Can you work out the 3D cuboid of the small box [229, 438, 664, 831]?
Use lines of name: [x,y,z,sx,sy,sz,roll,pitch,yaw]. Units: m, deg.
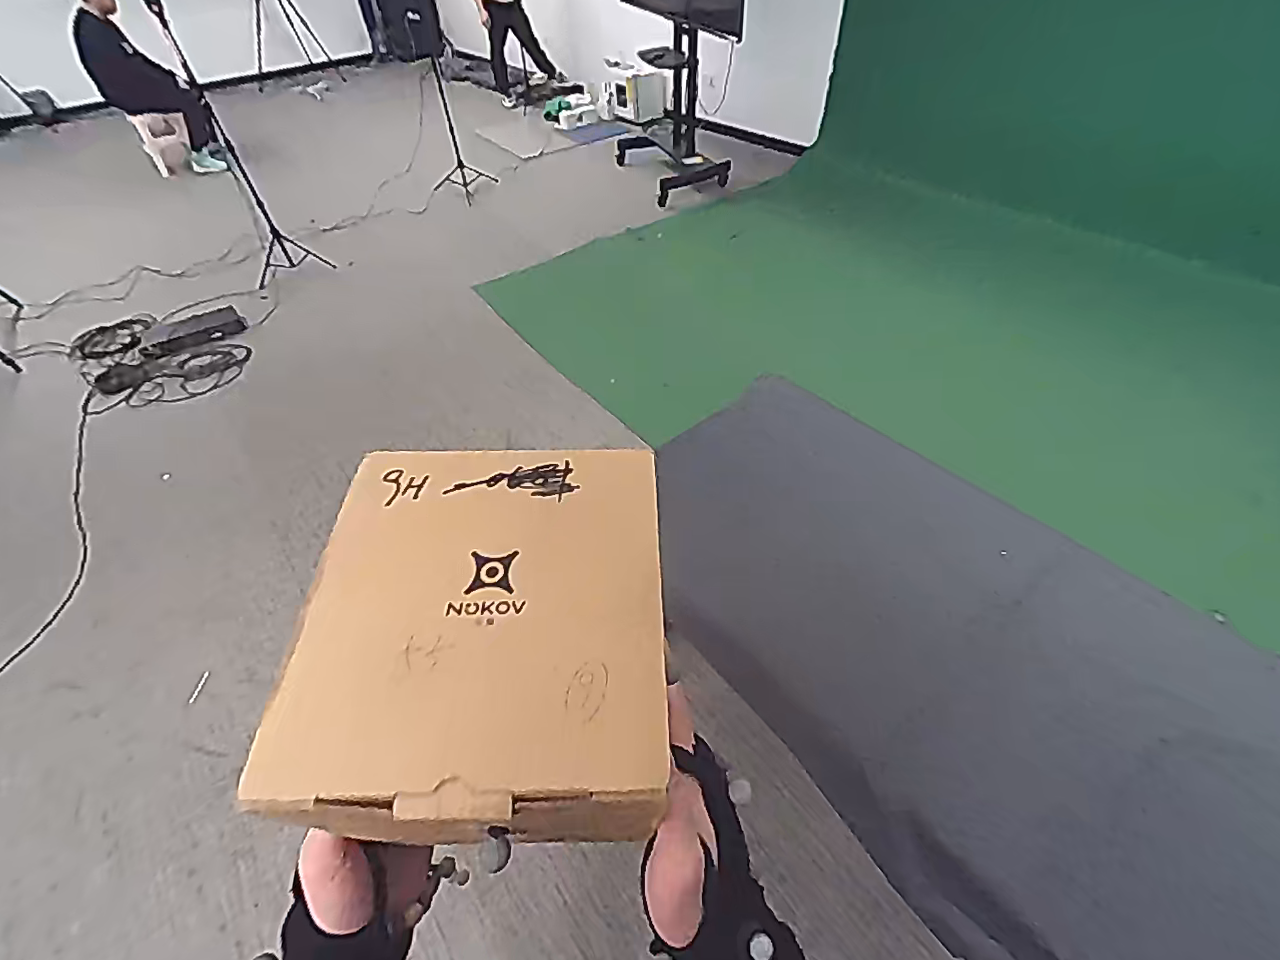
small box: [-0.074,0.096,0.313,0.168,0.176,0.179,1,53,-3]
